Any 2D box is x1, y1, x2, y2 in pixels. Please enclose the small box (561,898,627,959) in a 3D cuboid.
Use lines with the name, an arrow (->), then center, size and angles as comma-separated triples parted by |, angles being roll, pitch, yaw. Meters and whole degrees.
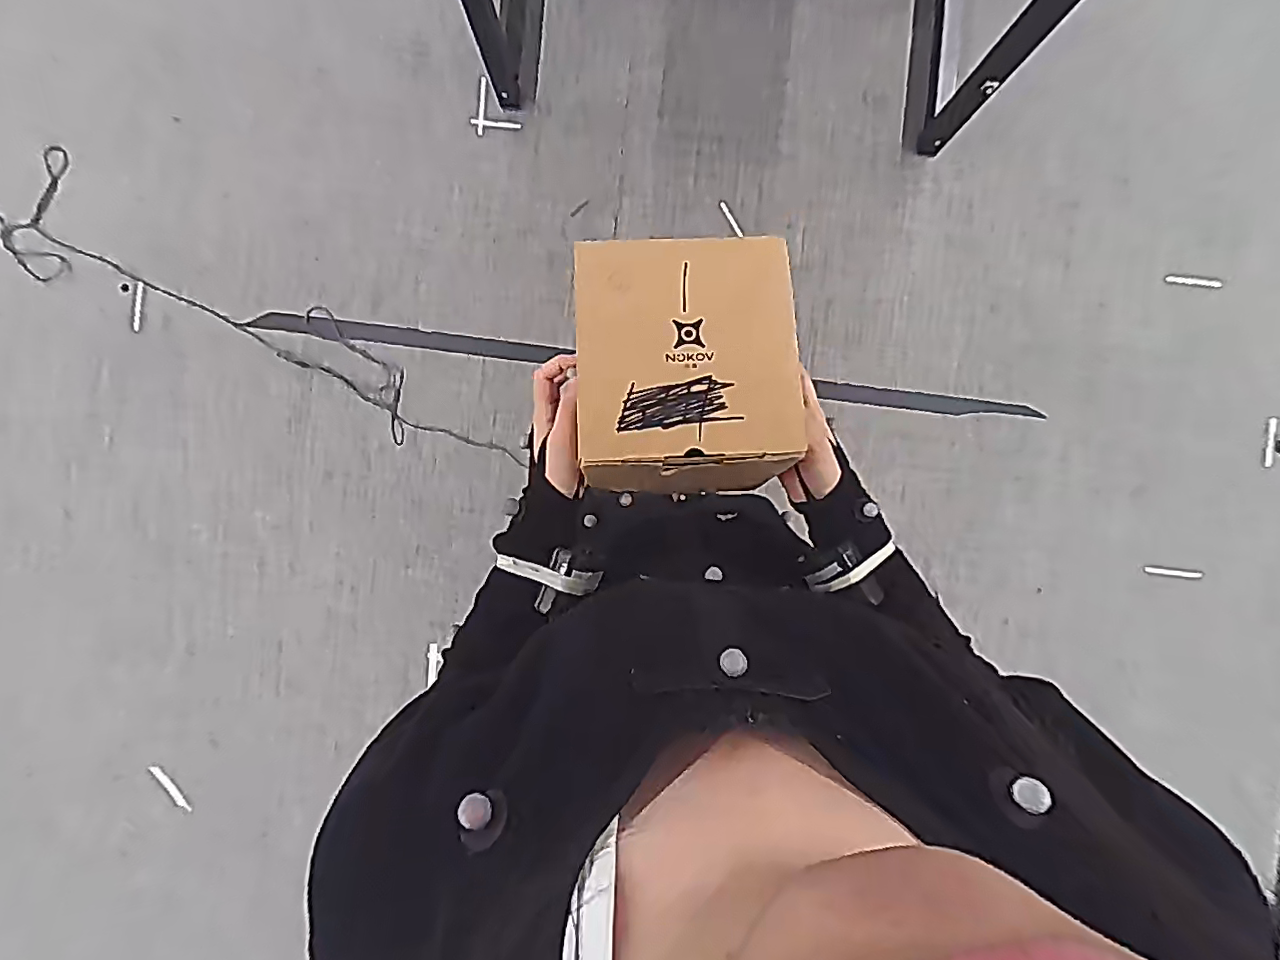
small box -> -0.126, 1.269, 1.434 | 0.168, 0.176, 0.179 | 9, 91, -1

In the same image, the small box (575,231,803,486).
small box -> 0.033, -0.089, 0.476 | 0.168, 0.176, 0.179 | -2, 80, -2
